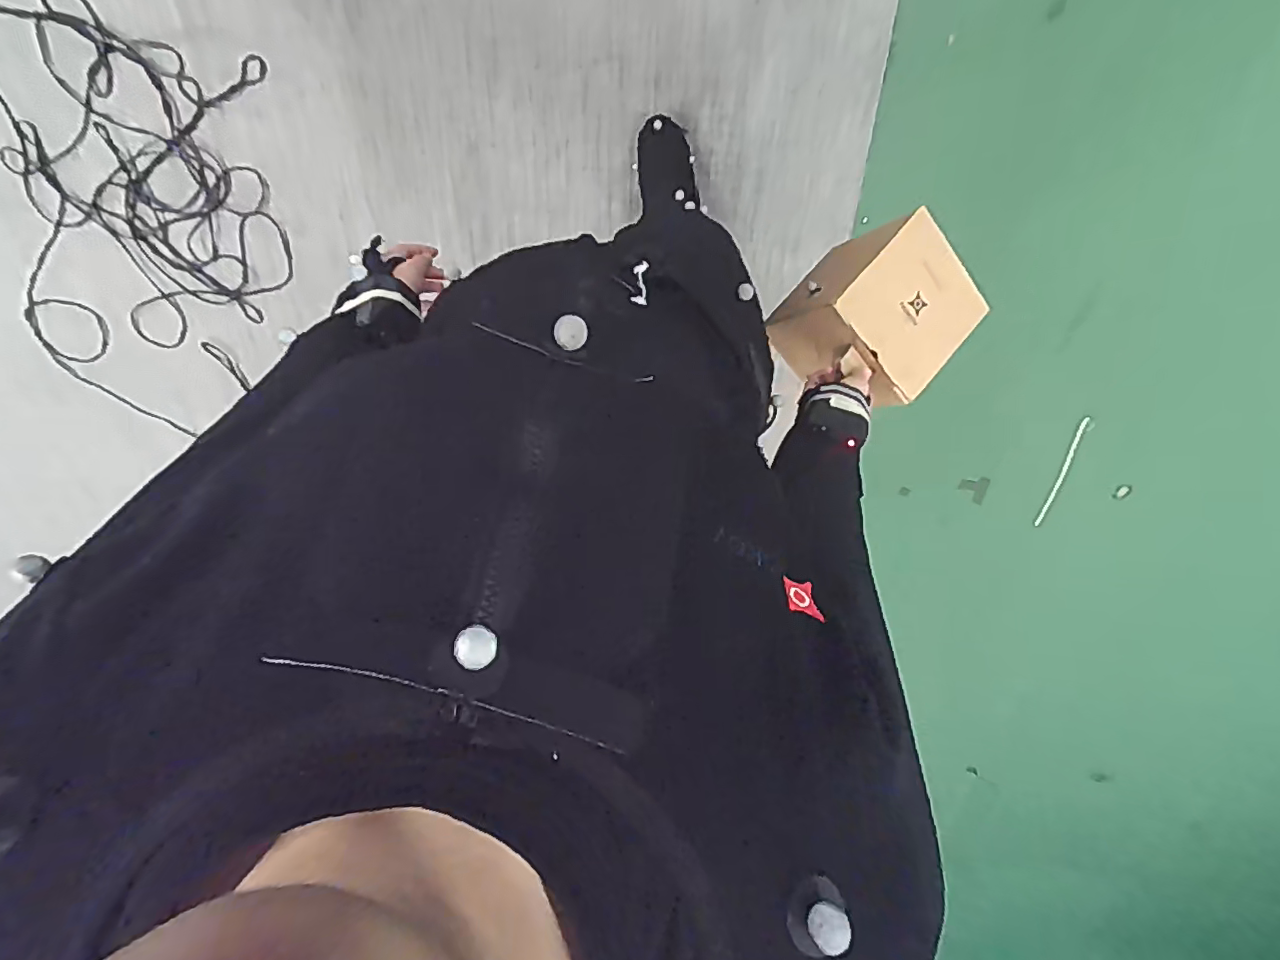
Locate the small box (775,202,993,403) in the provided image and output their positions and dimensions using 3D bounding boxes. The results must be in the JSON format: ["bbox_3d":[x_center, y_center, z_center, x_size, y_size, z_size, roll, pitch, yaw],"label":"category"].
[{"bbox_3d":[0.306,-0.216,0.715,0.168,0.176,0.179,44,81,-18],"label":"small box"}]
